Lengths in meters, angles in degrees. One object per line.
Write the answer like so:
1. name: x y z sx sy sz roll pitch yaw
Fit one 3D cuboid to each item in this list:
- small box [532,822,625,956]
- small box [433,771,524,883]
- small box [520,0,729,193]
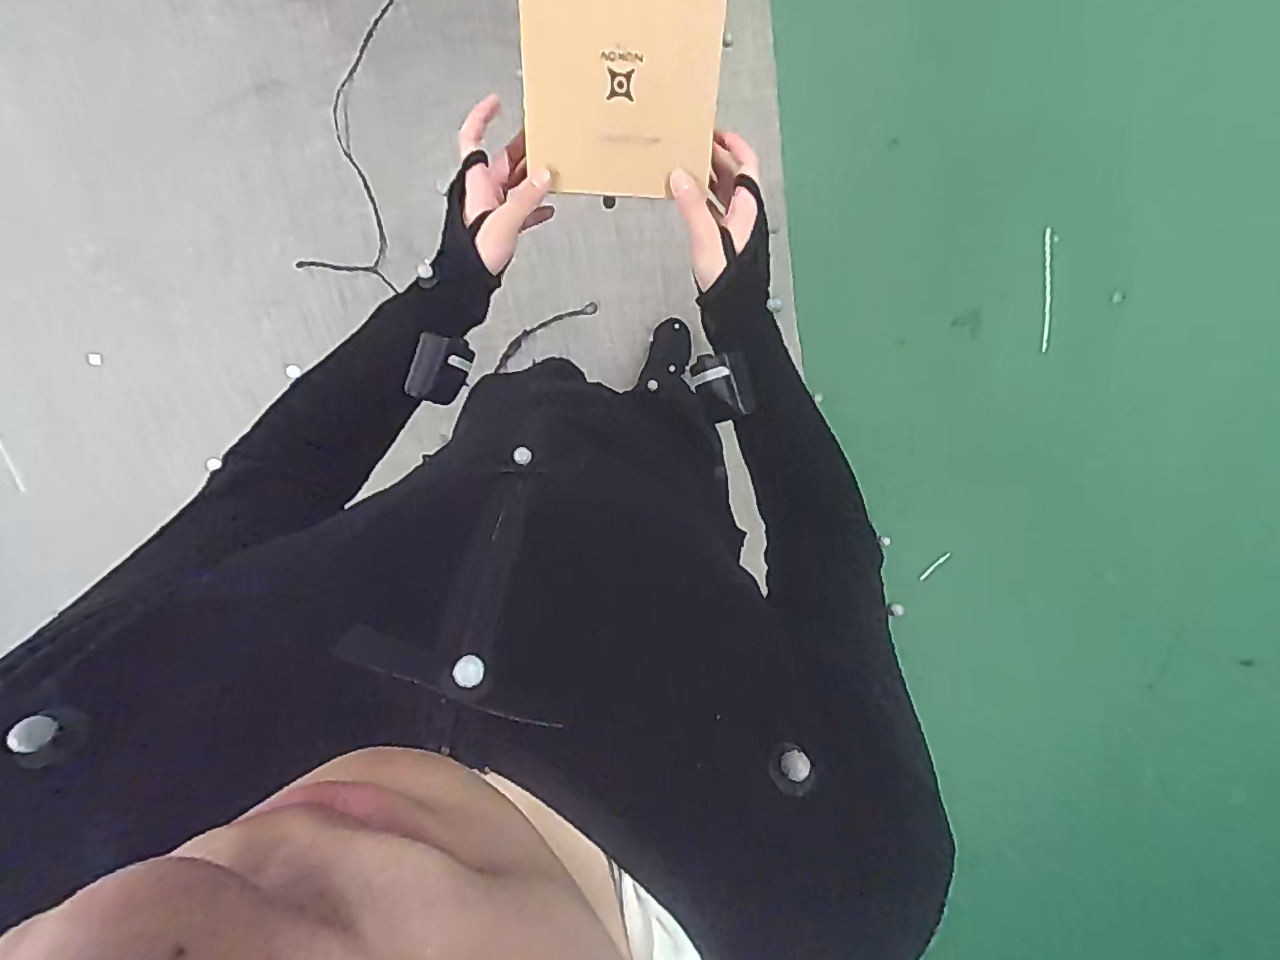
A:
1. small box: -0.127 0.900 1.197 0.168 0.176 0.179 -6 104 4
2. small box: -0.404 0.881 1.381 0.168 0.176 0.179 -2 104 5
3. small box: -0.014 -0.376 0.510 0.168 0.176 0.179 4 120 0
